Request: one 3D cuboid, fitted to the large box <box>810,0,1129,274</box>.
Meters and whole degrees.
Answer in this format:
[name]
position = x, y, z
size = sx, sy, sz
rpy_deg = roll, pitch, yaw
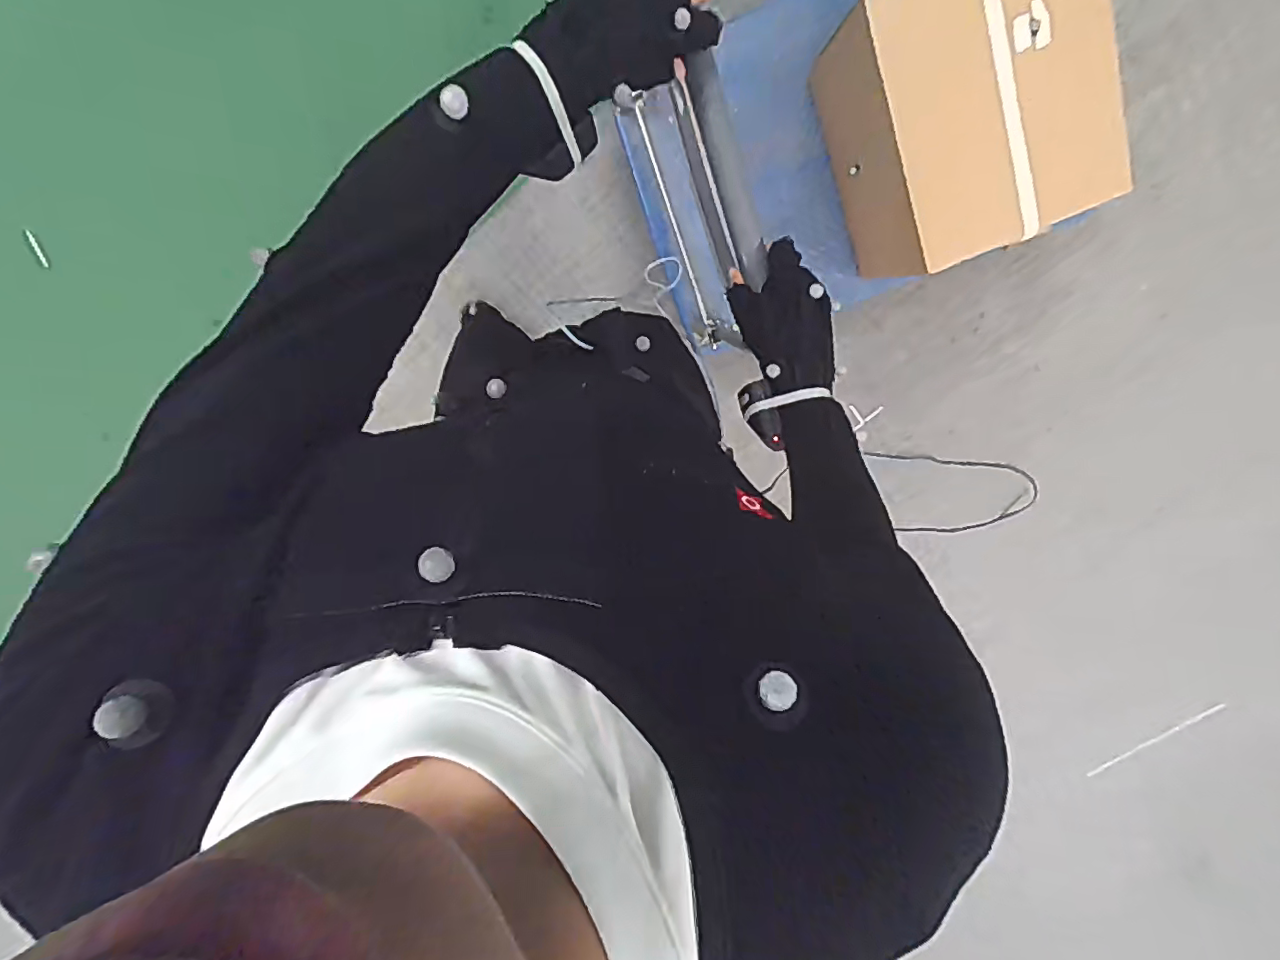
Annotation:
[large box]
position = 0.534, -0.617, 0.934
size = 0.320, 0.320, 0.408
rpy_deg = -22, 106, 9
